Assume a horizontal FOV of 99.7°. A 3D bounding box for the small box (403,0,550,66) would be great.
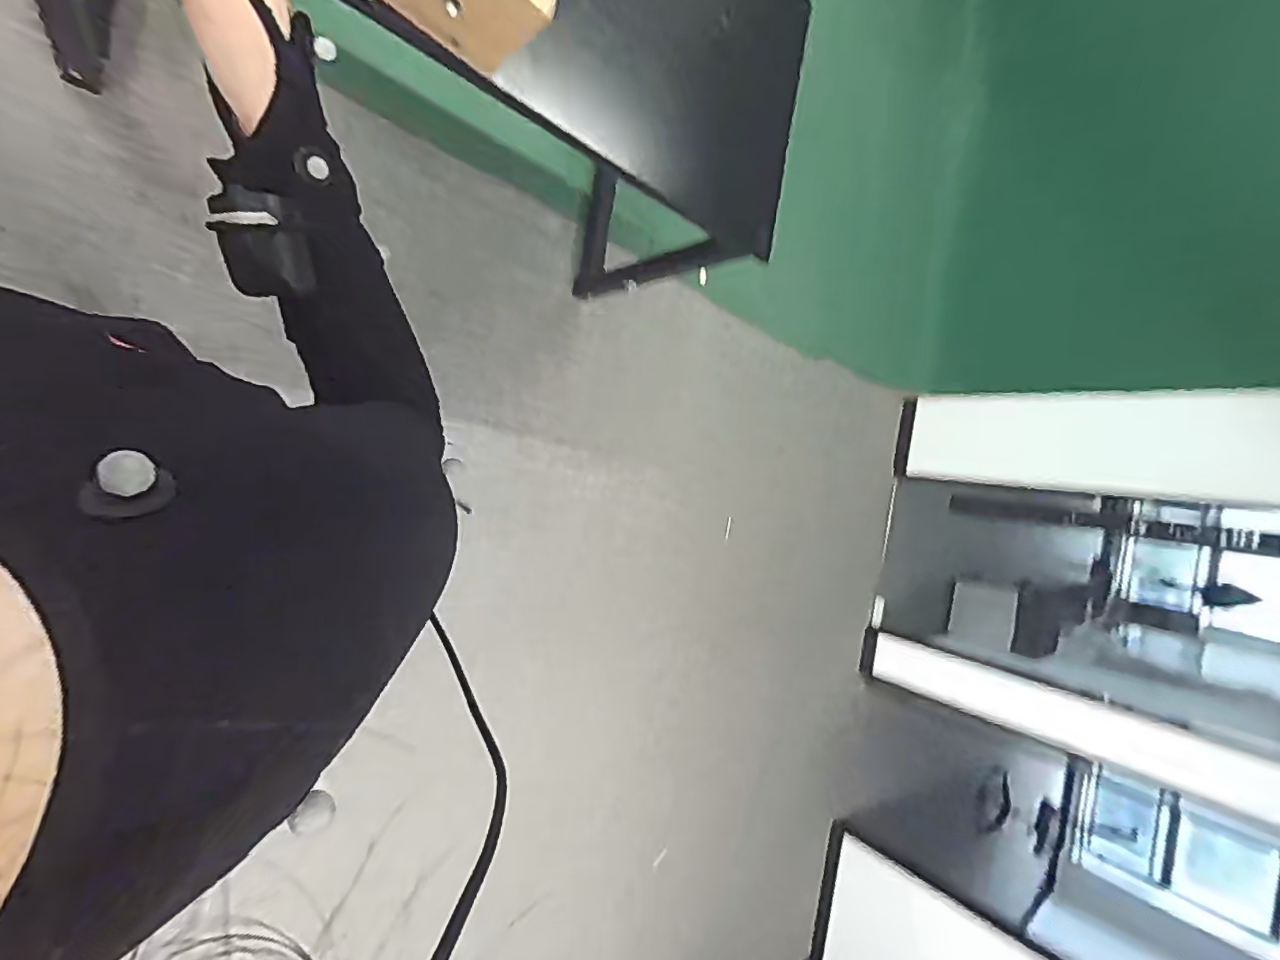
[{"bbox_3d":[-0.201,-0.666,0.658,0.168,0.176,0.179,15,86,-41],"label":"small box"}]
